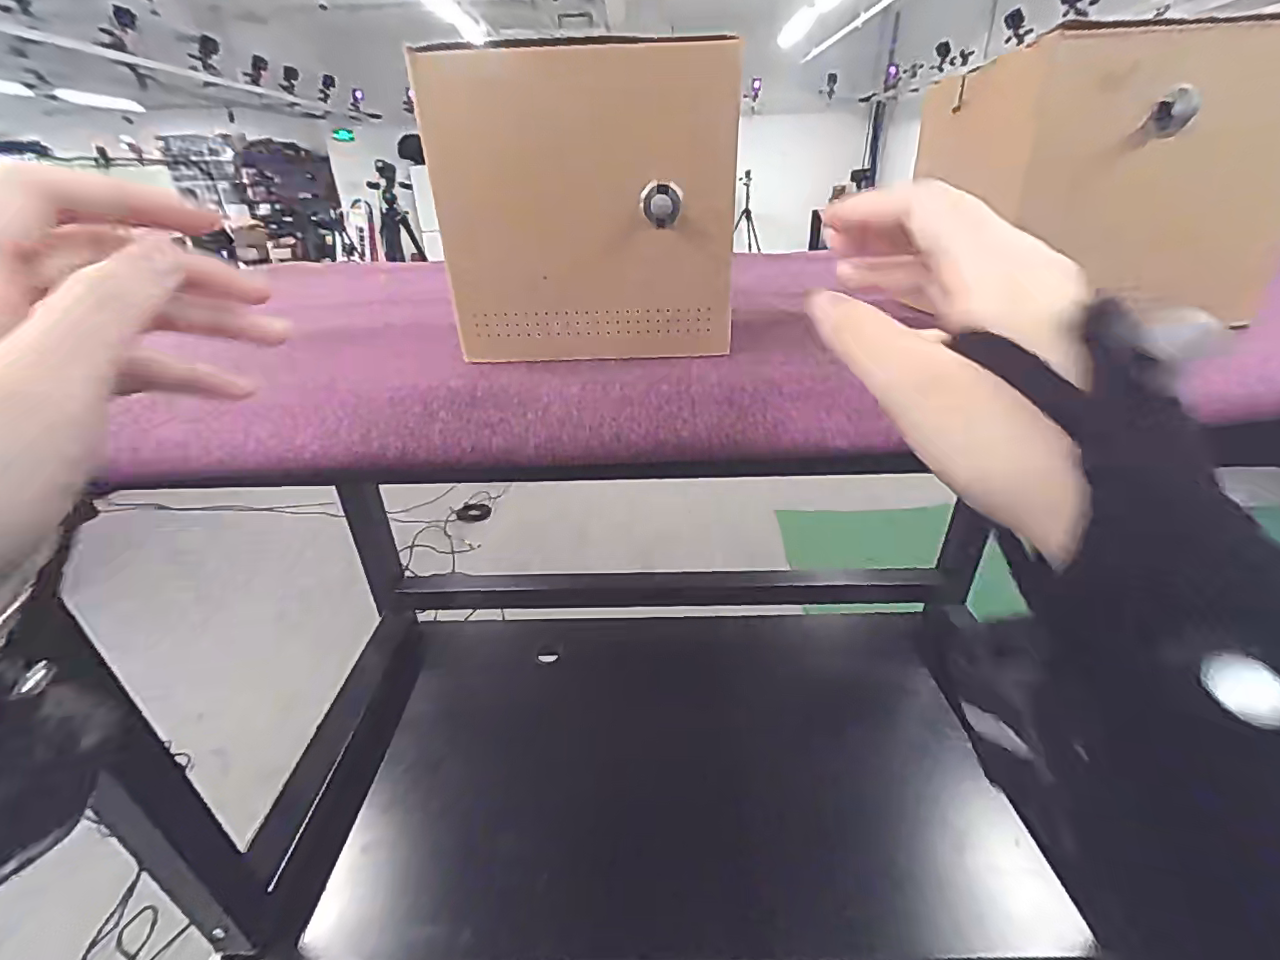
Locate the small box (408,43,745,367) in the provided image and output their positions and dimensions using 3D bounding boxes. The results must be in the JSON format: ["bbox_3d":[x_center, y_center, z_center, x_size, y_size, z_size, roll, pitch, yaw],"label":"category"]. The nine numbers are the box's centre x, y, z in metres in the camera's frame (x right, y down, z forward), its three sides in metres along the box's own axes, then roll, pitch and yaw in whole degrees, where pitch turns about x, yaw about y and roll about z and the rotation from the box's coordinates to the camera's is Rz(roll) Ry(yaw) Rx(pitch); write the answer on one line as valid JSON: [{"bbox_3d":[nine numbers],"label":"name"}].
[{"bbox_3d":[-0.031,-0.185,0.383,0.179,0.176,0.168,-3,29,0],"label":"small box"}]

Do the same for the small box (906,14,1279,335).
[{"bbox_3d":[0.317,-0.206,0.398,0.179,0.176,0.168,-1,27,2],"label":"small box"}]
